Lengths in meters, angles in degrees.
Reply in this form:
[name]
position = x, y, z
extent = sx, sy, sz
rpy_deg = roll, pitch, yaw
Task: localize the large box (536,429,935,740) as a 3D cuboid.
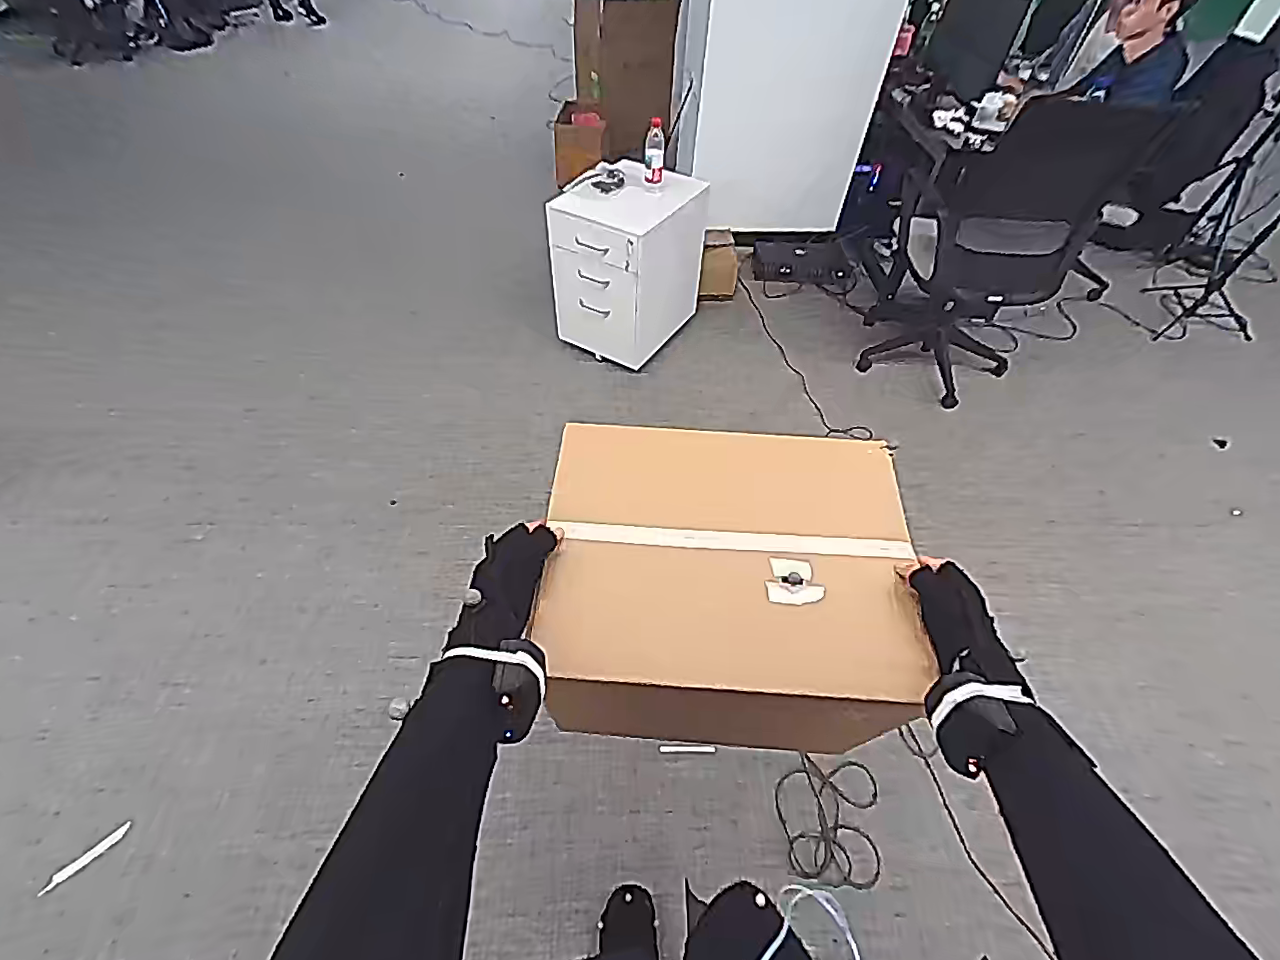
[large box]
position = 0.098, 0.152, 0.737
extent = 0.408, 0.320, 0.320
rpy_deg = 4, 56, 2
